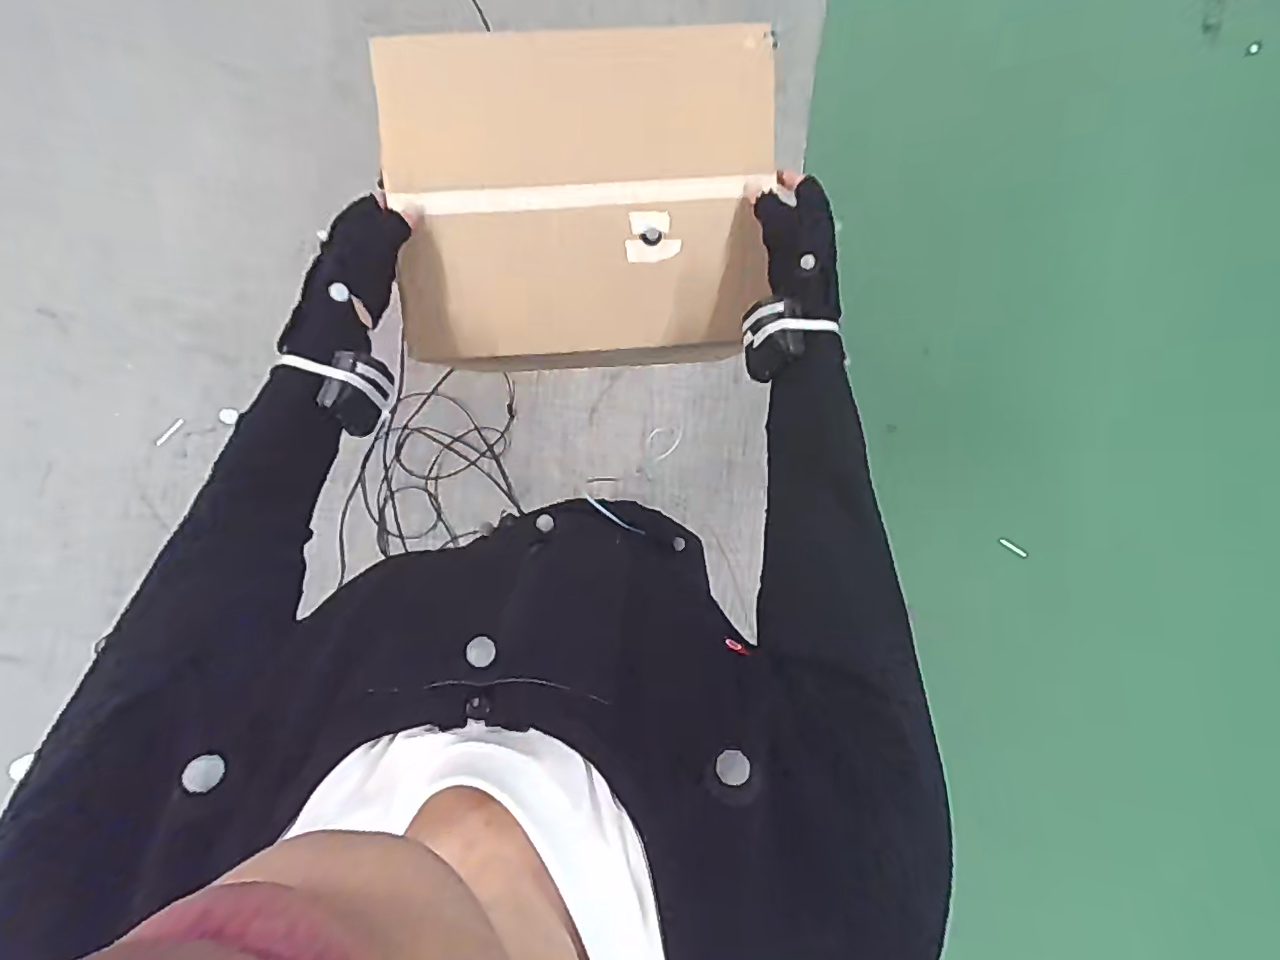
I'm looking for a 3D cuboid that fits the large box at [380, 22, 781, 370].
[{"bbox_3d":[-0.062,-0.323,0.712,0.408,0.320,0.320,-4,98,-3],"label":"large box"}]
